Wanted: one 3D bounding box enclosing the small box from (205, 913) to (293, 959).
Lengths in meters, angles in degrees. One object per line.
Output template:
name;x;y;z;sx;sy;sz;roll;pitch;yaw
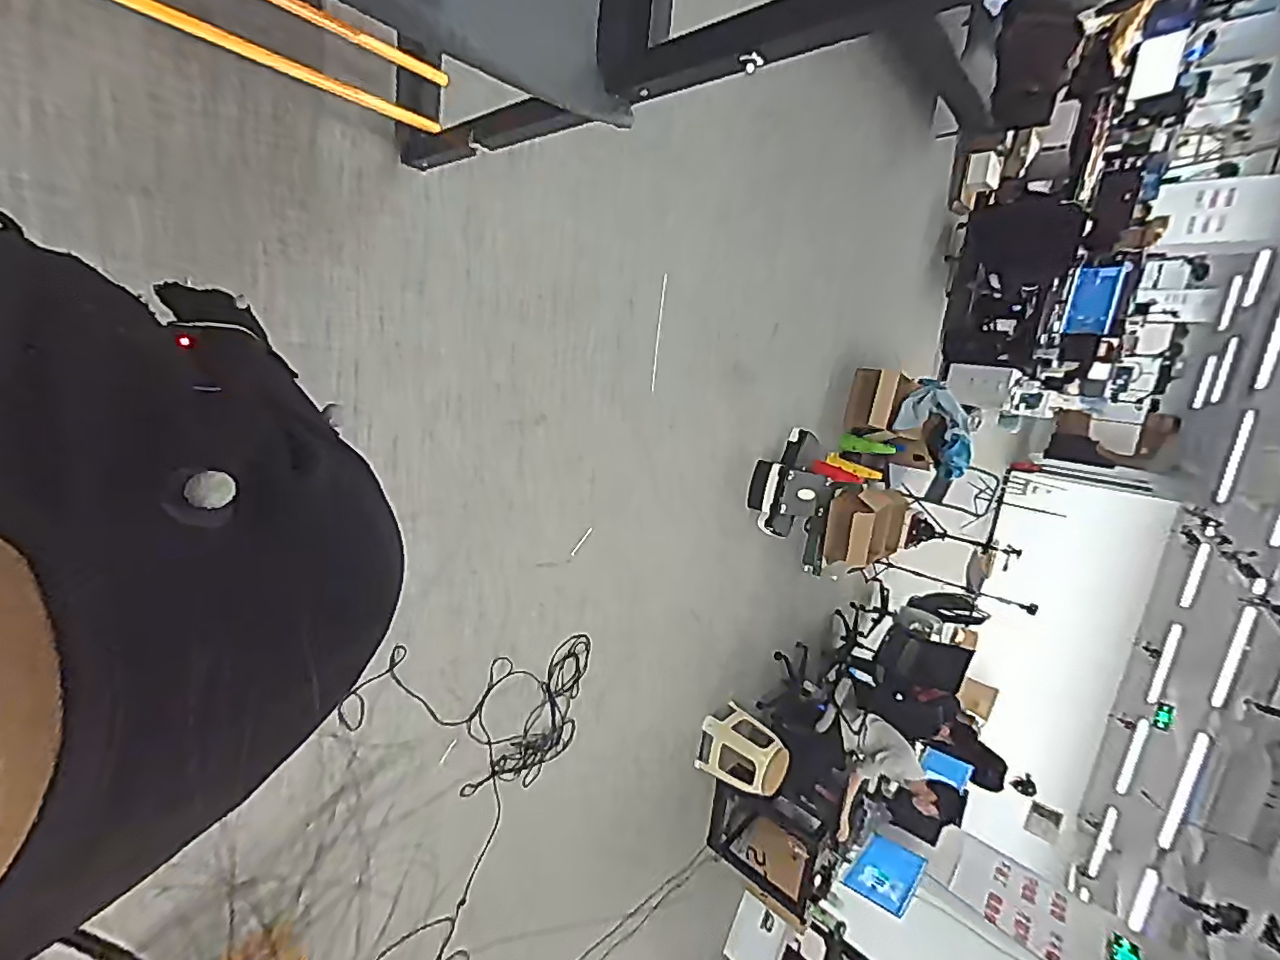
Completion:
small box;-1.075;1.362;1.485;0.168;0.176;0.179;-5;107;-49
